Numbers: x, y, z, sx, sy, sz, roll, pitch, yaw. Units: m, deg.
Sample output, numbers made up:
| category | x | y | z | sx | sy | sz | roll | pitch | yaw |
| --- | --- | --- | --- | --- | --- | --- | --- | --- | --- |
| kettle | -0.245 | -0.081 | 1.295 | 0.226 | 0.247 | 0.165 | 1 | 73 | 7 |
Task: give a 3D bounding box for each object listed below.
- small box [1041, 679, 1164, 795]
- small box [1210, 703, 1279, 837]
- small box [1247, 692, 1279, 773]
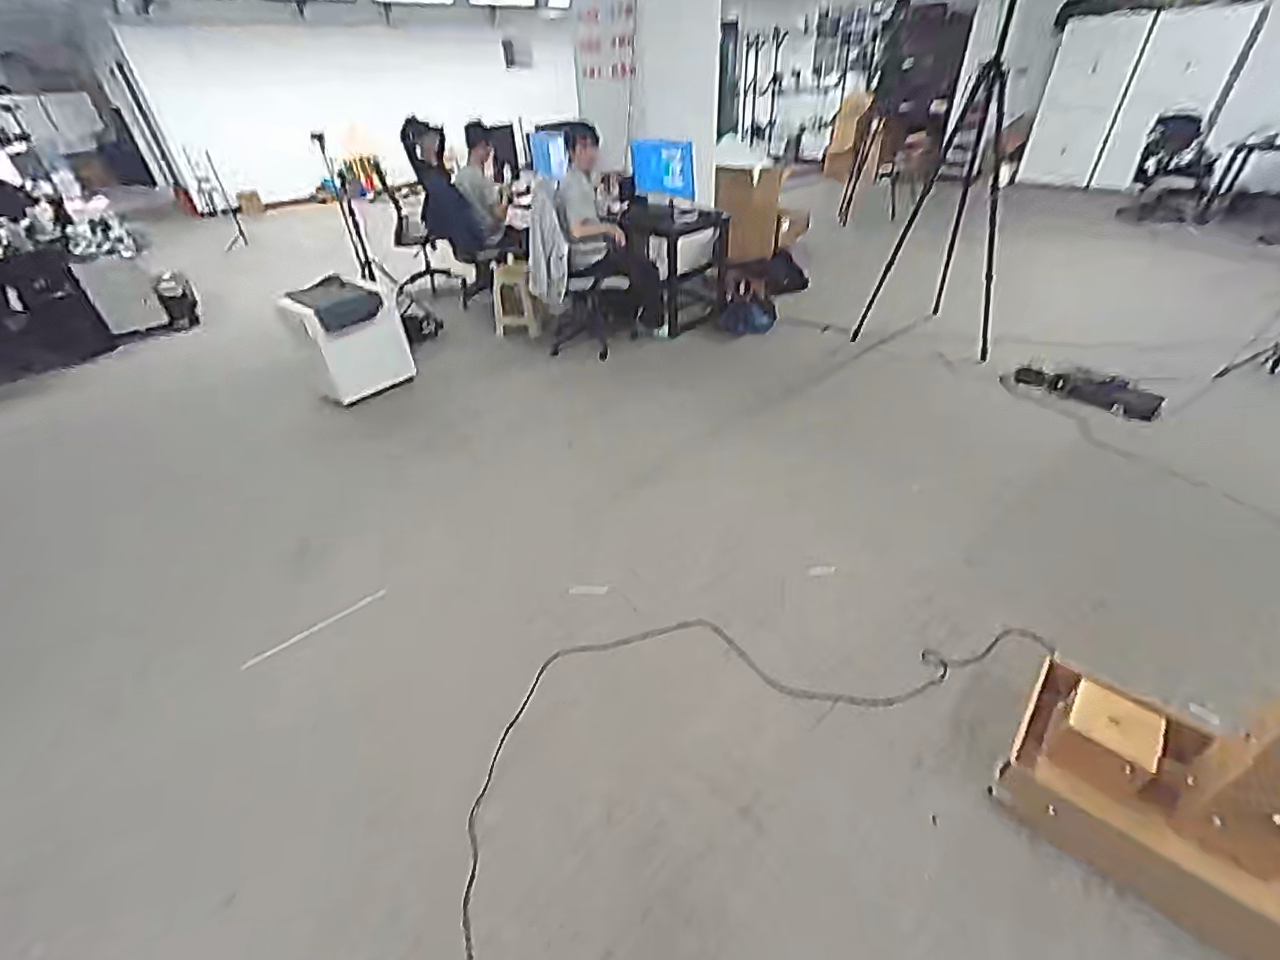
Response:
| category | x | y | z | sx | sy | sz | roll | pitch | yaw |
| --- | --- | --- | --- | --- | --- | --- | --- | --- | --- |
| small box | 1.160 | 0.651 | 1.366 | 0.179 | 0.176 | 0.168 | 29 | 49 | 33 |
| small box | 1.345 | 0.616 | 1.125 | 0.168 | 0.176 | 0.179 | 28 | 48 | 36 |
| small box | 1.325 | 0.490 | 1.019 | 0.168 | 0.176 | 0.179 | -30 | 44 | -30 |
